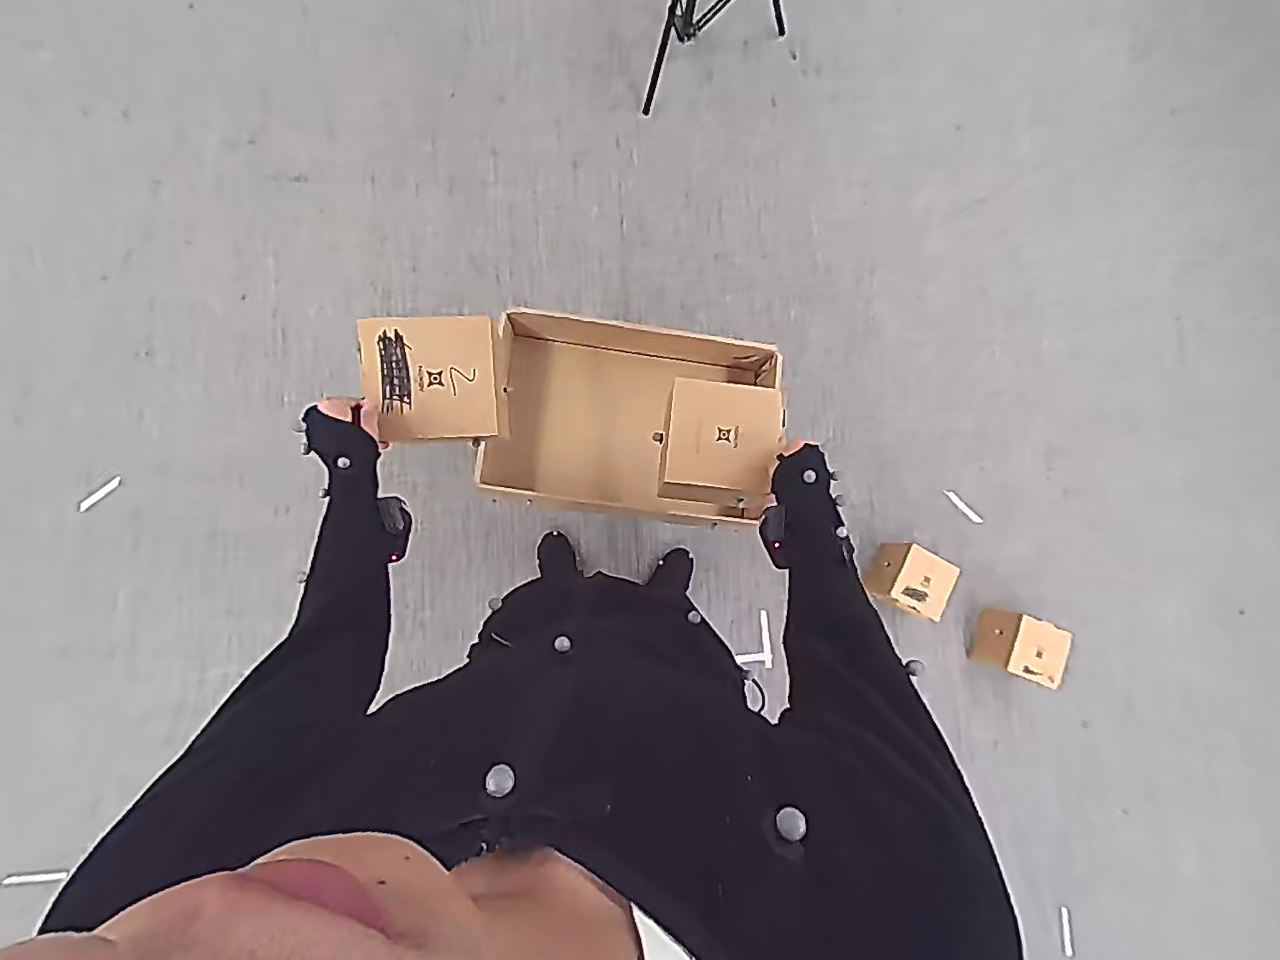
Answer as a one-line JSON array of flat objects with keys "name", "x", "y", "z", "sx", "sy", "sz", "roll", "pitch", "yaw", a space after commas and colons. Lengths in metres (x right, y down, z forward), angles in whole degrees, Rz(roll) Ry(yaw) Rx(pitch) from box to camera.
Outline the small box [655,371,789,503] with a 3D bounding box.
[{"name": "small box", "x": 0.125, "y": -0.060, "z": 0.876, "sx": 0.179, "sy": 0.176, "sz": 0.168, "roll": 7, "pitch": 79, "yaw": -2}]

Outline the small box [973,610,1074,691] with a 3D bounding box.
[{"name": "small box", "x": 1.158, "y": 0.508, "z": 1.643, "sx": 0.168, "sy": 0.176, "sz": 0.179, "roll": 23, "pitch": 81, "yaw": -2}]

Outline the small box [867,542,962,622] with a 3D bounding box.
[{"name": "small box", "x": 0.819, "y": 0.303, "z": 1.635, "sx": 0.168, "sy": 0.176, "sz": 0.179, "roll": 30, "pitch": 82, "yaw": -2}]
